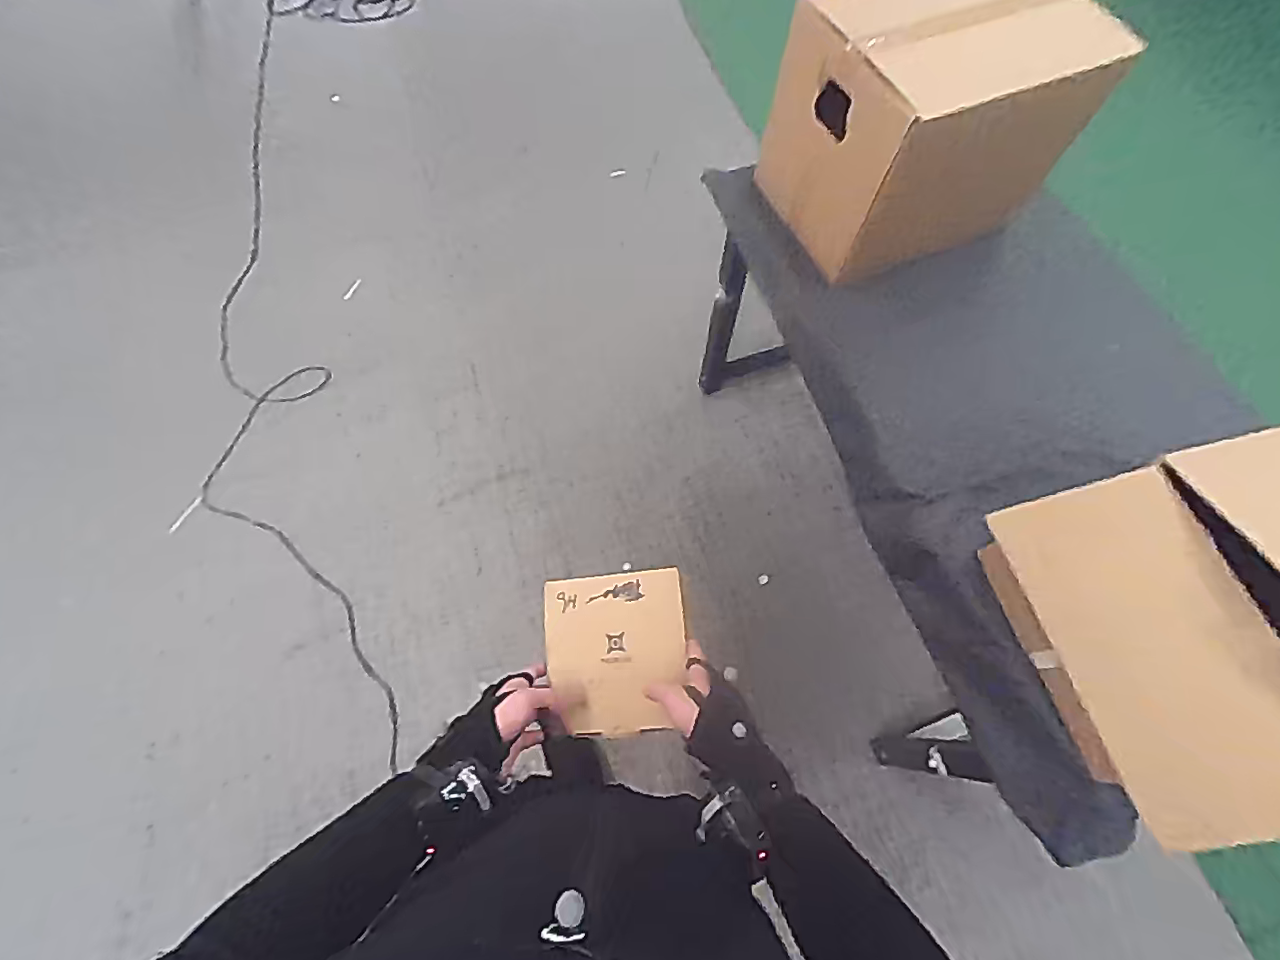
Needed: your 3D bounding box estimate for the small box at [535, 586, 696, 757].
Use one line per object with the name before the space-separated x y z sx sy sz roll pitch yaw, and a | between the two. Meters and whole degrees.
small box | -0.023 0.226 0.671 0.168 0.176 0.179 -6 76 8
